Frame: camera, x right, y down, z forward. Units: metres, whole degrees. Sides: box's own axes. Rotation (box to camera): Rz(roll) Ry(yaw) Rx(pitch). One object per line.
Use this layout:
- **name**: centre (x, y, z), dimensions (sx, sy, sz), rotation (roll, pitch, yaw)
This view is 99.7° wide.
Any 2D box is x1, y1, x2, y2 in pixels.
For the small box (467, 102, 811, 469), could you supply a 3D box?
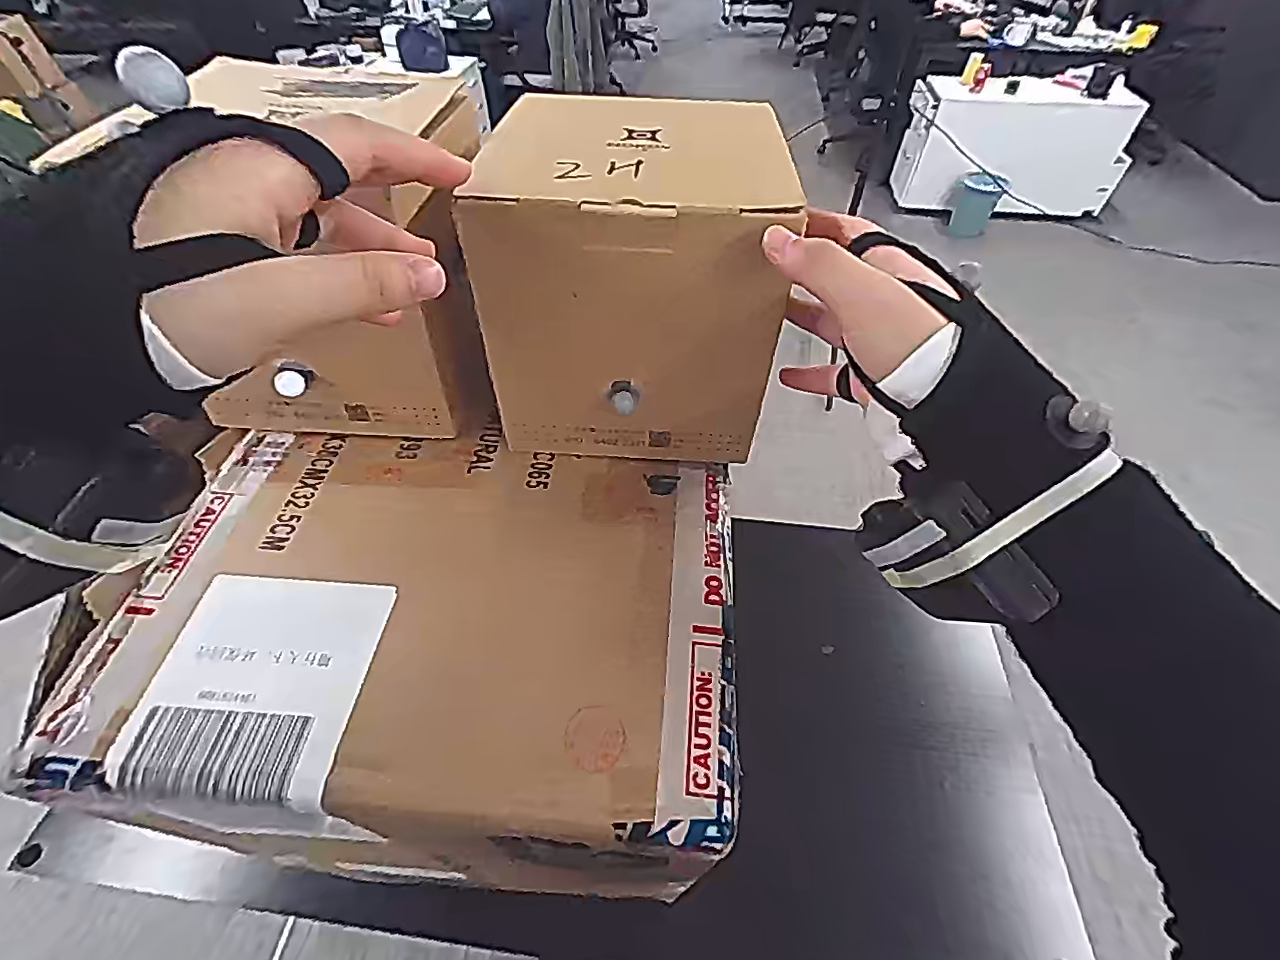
- **small box**: centre (0.002, -0.131, 0.366), dimensions (0.168, 0.176, 0.179), rotation (3, 48, 2)

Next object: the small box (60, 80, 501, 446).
- **small box**: centre (-0.196, -0.146, 0.370), dimensions (0.168, 0.176, 0.179), rotation (3, 48, -1)
